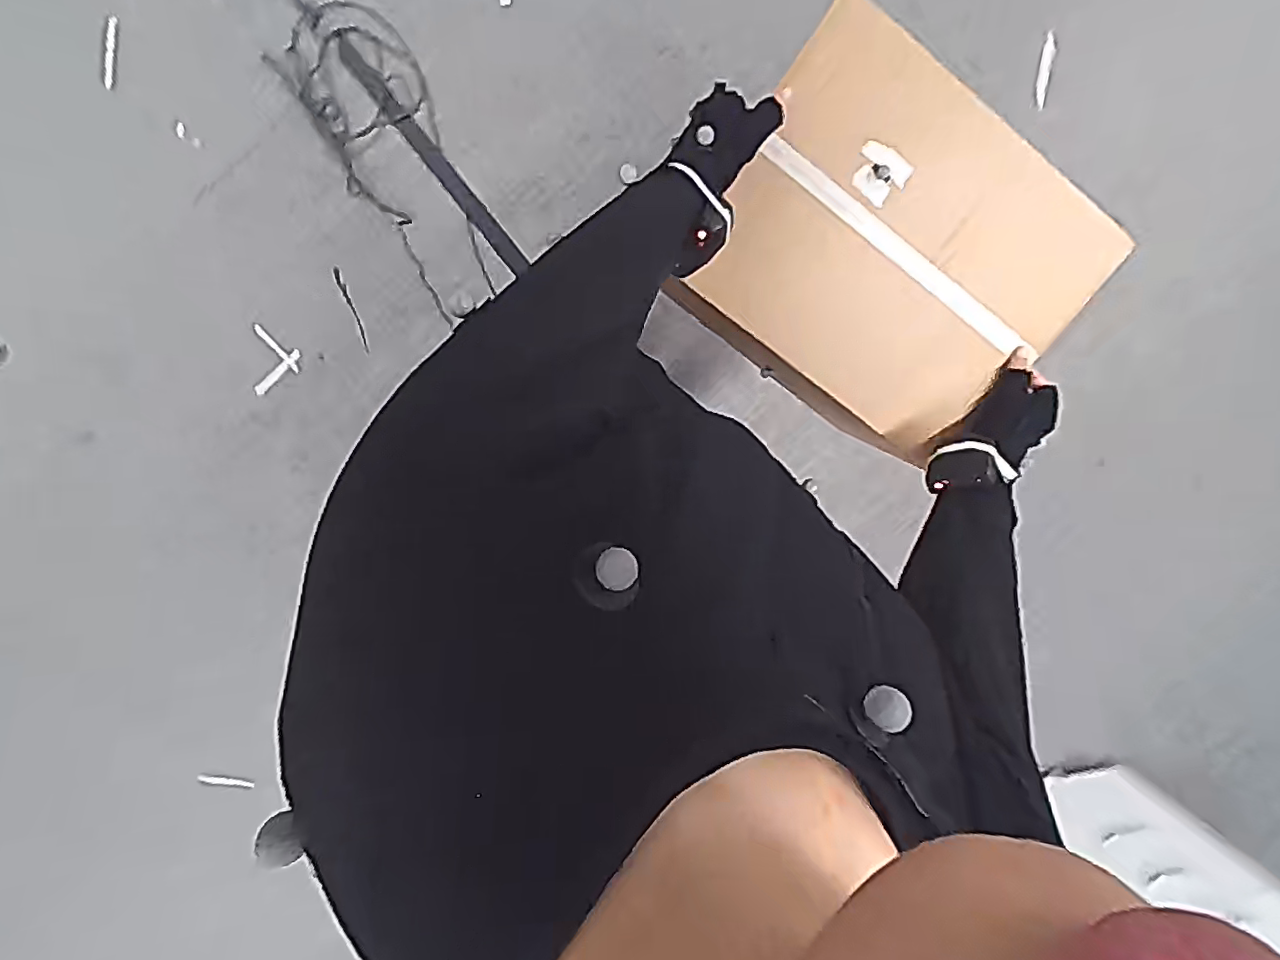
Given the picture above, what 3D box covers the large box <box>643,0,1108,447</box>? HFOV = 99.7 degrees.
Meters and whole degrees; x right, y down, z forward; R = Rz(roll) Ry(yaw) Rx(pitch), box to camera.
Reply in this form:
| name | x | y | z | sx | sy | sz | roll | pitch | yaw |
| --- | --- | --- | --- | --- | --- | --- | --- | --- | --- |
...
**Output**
| name | x | y | z | sx | sy | sz | roll | pitch | yaw |
| --- | --- | --- | --- | --- | --- | --- | --- | --- | --- |
| large box | 0.256 | -0.300 | 0.726 | 0.408 | 0.320 | 0.320 | 34 | 102 | -7 |
